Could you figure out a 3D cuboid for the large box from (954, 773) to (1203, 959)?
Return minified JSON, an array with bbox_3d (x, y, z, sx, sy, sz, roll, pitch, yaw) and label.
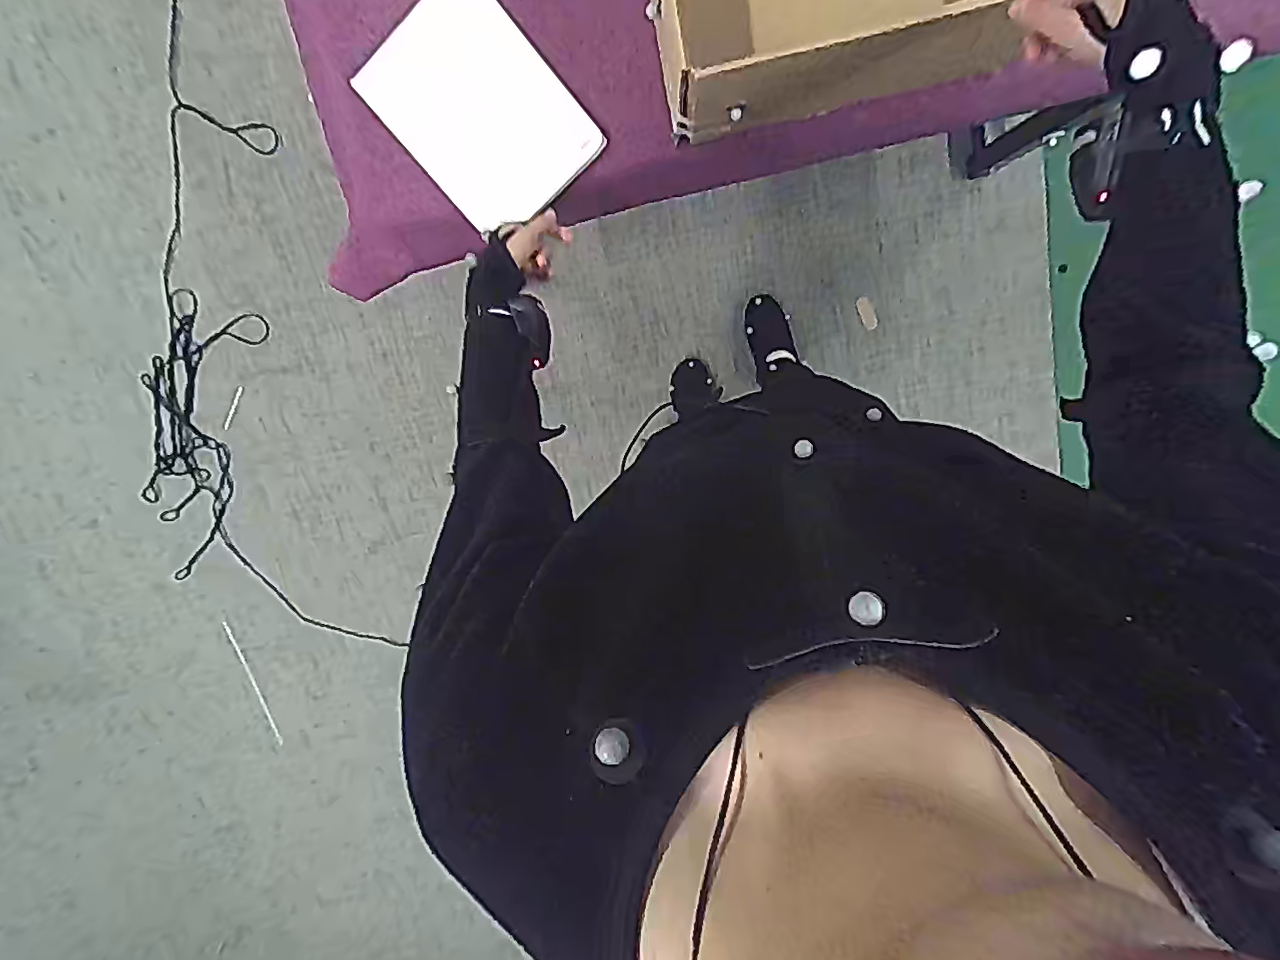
[{"bbox_3d":[1.210,1.126,1.536,0.408,0.320,0.320,-26,101,8],"label":"large box"}]
